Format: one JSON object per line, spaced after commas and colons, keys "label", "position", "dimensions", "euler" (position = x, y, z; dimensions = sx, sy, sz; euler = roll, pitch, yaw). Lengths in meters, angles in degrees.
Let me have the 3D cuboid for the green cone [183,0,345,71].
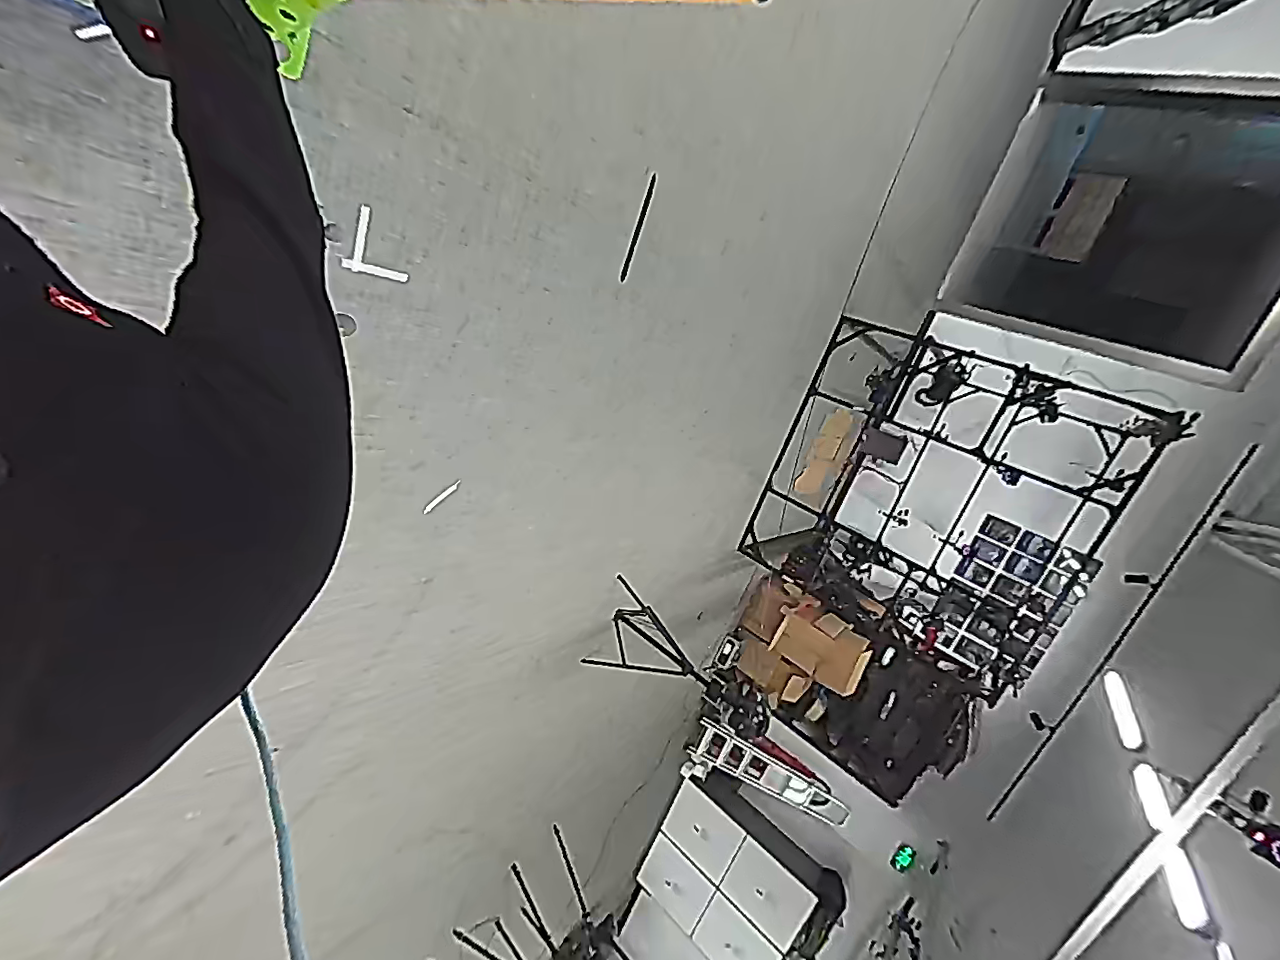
{"label": "green cone", "position": [-0.606, -0.860, 0.940], "dimensions": [0.202, 0.368, 0.200], "euler": [3, 113, -57]}
